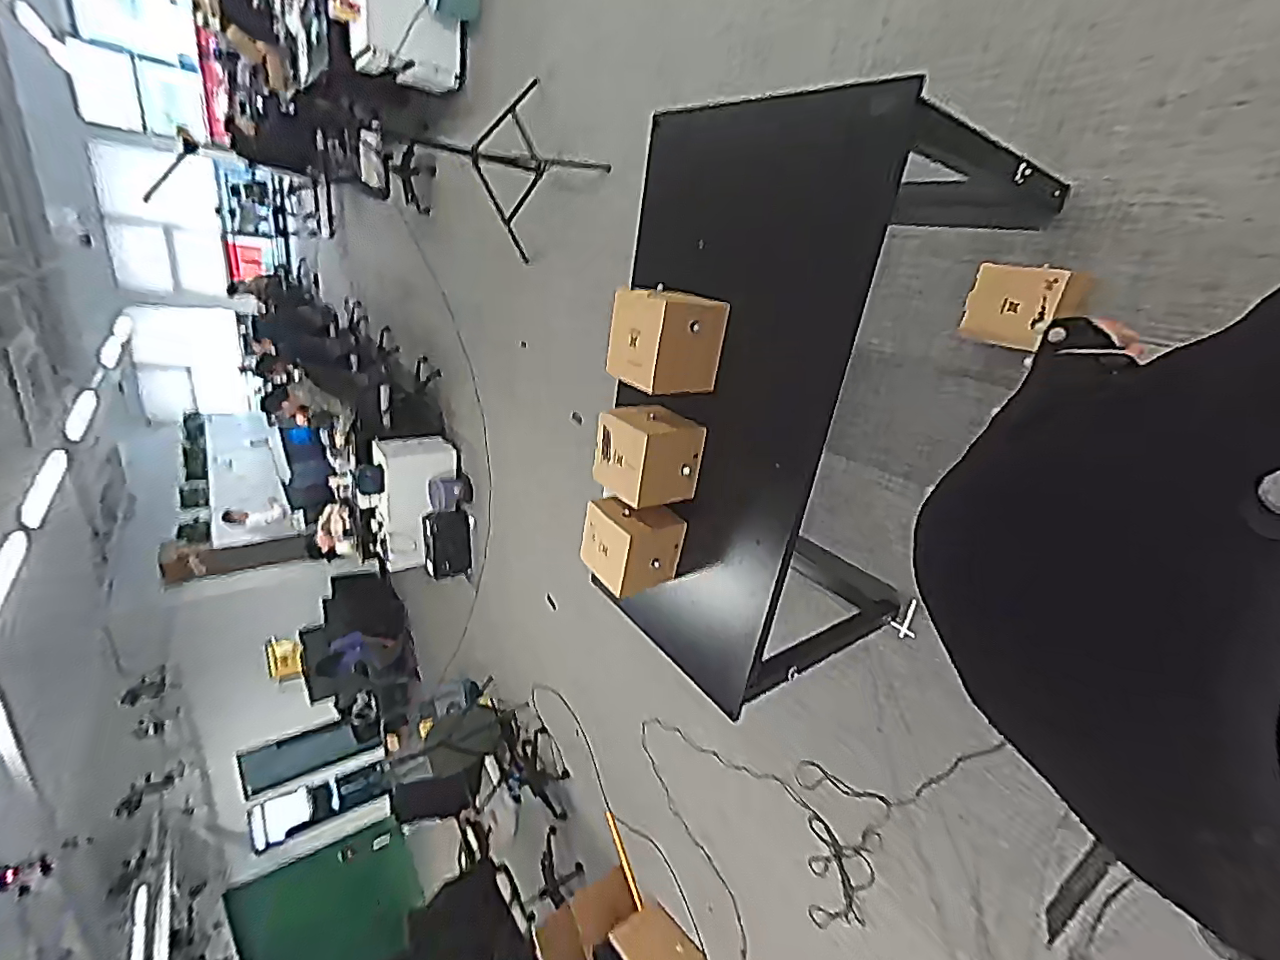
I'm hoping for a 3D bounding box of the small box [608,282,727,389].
[{"bbox_3d":[0.056,-0.294,1.100,0.168,0.176,0.179,35,125,46],"label":"small box"}]

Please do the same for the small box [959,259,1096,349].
[{"bbox_3d":[0.868,-0.391,1.214,0.179,0.176,0.168,33,123,46],"label":"small box"}]

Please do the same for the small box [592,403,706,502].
[{"bbox_3d":[0.018,-0.068,1.195,0.179,0.176,0.168,33,123,44],"label":"small box"}]

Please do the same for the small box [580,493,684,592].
[{"bbox_3d":[-0.019,0.134,1.286,0.179,0.176,0.168,38,125,43],"label":"small box"}]
